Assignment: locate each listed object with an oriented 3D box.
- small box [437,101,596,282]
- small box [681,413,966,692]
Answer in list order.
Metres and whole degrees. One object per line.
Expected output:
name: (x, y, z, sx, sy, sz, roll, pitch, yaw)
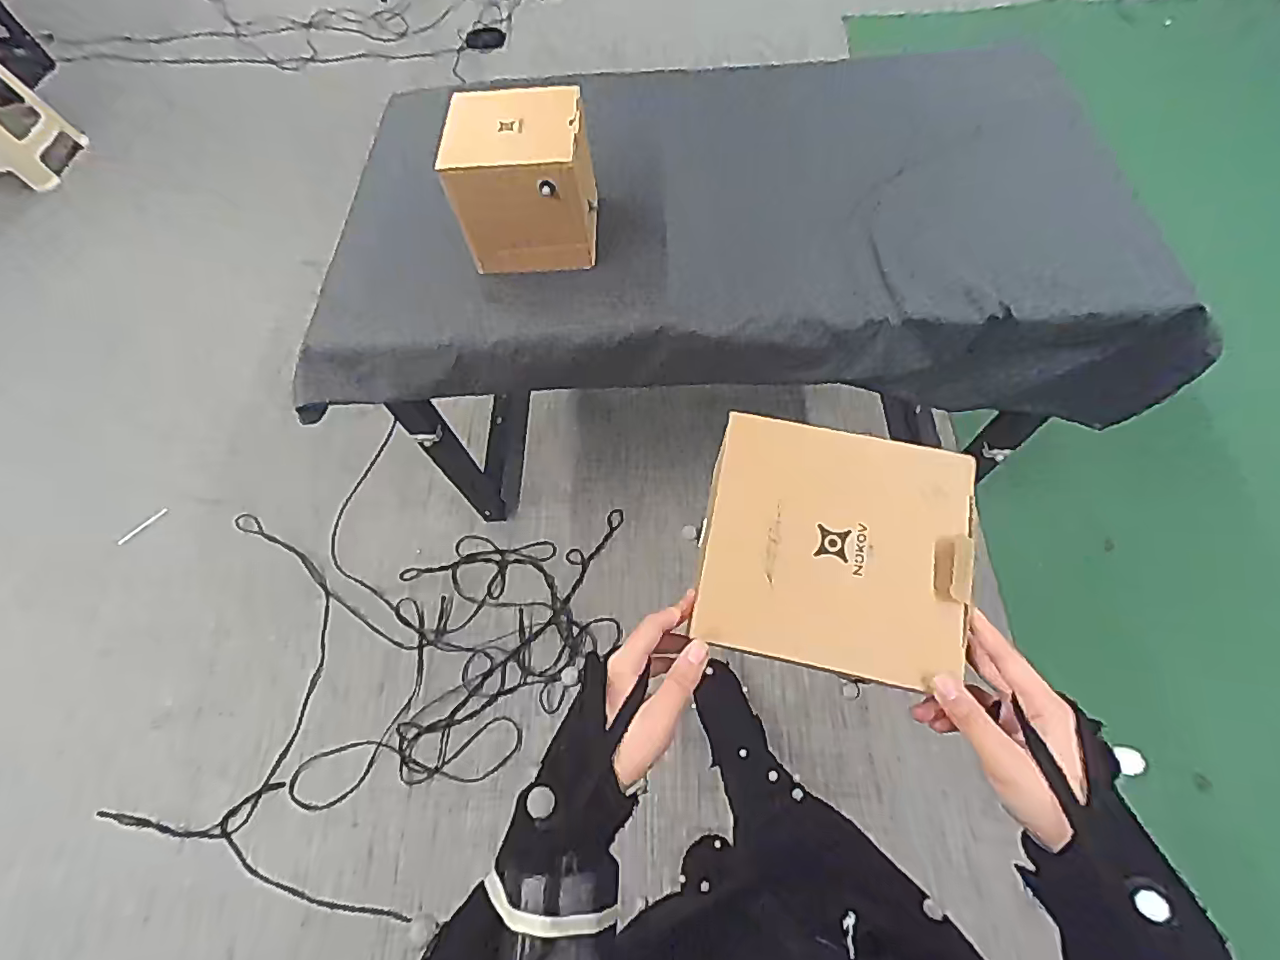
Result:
small box: (-0.164, -0.406, 0.777, 0.179, 0.176, 0.168, -2, 62, 3)
small box: (0.133, 0.065, 0.443, 0.179, 0.176, 0.168, 10, 72, 7)
